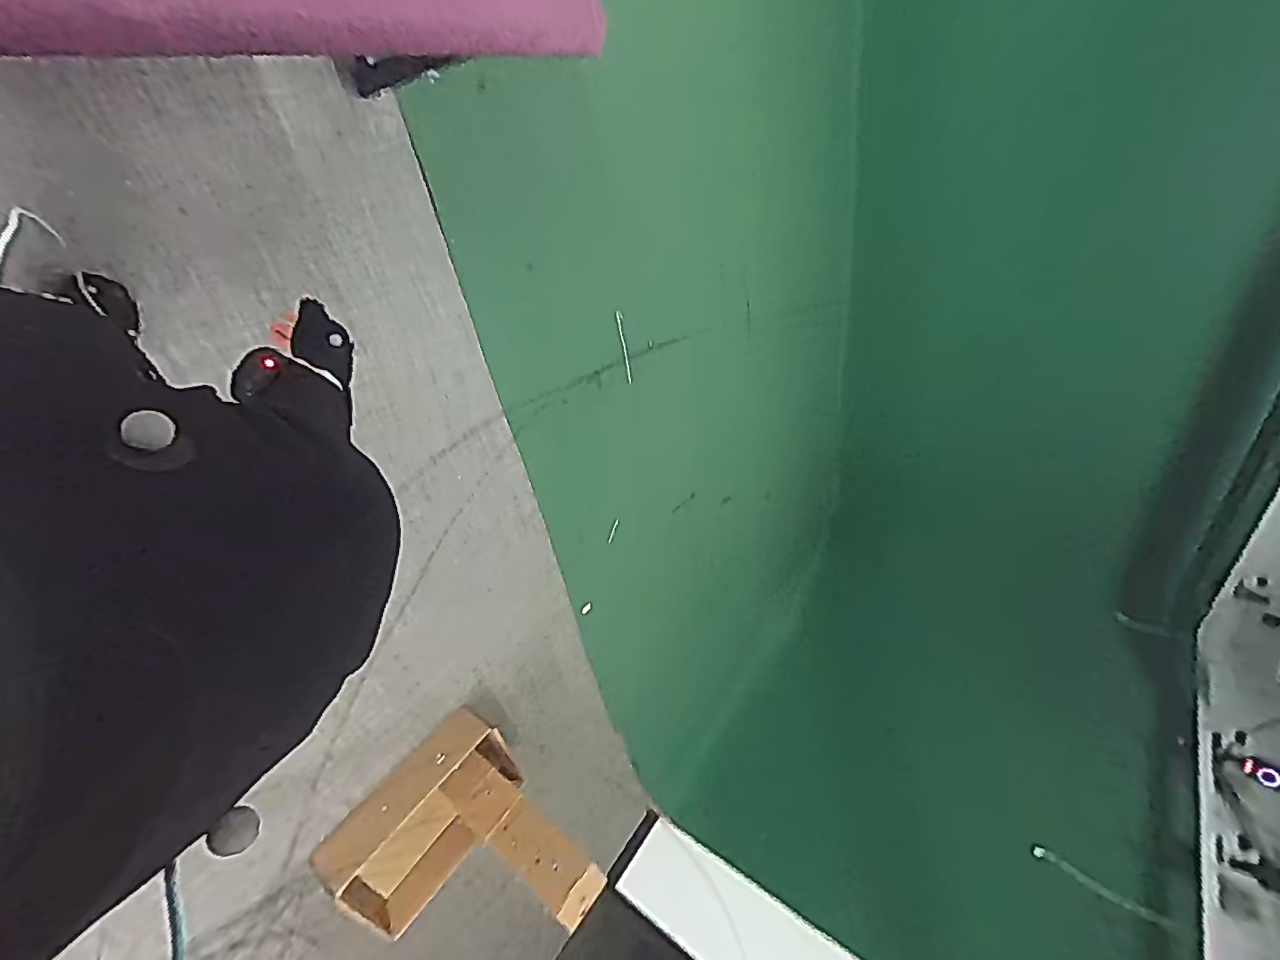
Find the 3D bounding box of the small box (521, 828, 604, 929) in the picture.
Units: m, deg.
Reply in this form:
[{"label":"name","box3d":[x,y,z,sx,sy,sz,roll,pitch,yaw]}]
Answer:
[{"label":"small box","box3d":[-0.243,1.228,1.678,0.168,0.176,0.179,-42,134,-33]}]

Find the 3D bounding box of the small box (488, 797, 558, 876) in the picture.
[{"label":"small box","box3d":[-0.369,1.183,1.773,0.168,0.176,0.179,-42,135,-33]}]

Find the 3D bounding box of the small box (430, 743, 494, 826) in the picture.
[{"label":"small box","box3d":[-0.623,1.095,1.957,0.168,0.176,0.179,-41,134,-36]}]

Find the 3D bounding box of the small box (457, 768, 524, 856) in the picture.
[{"label":"small box","box3d":[-0.497,1.138,1.863,0.168,0.176,0.179,-41,134,-35]}]
